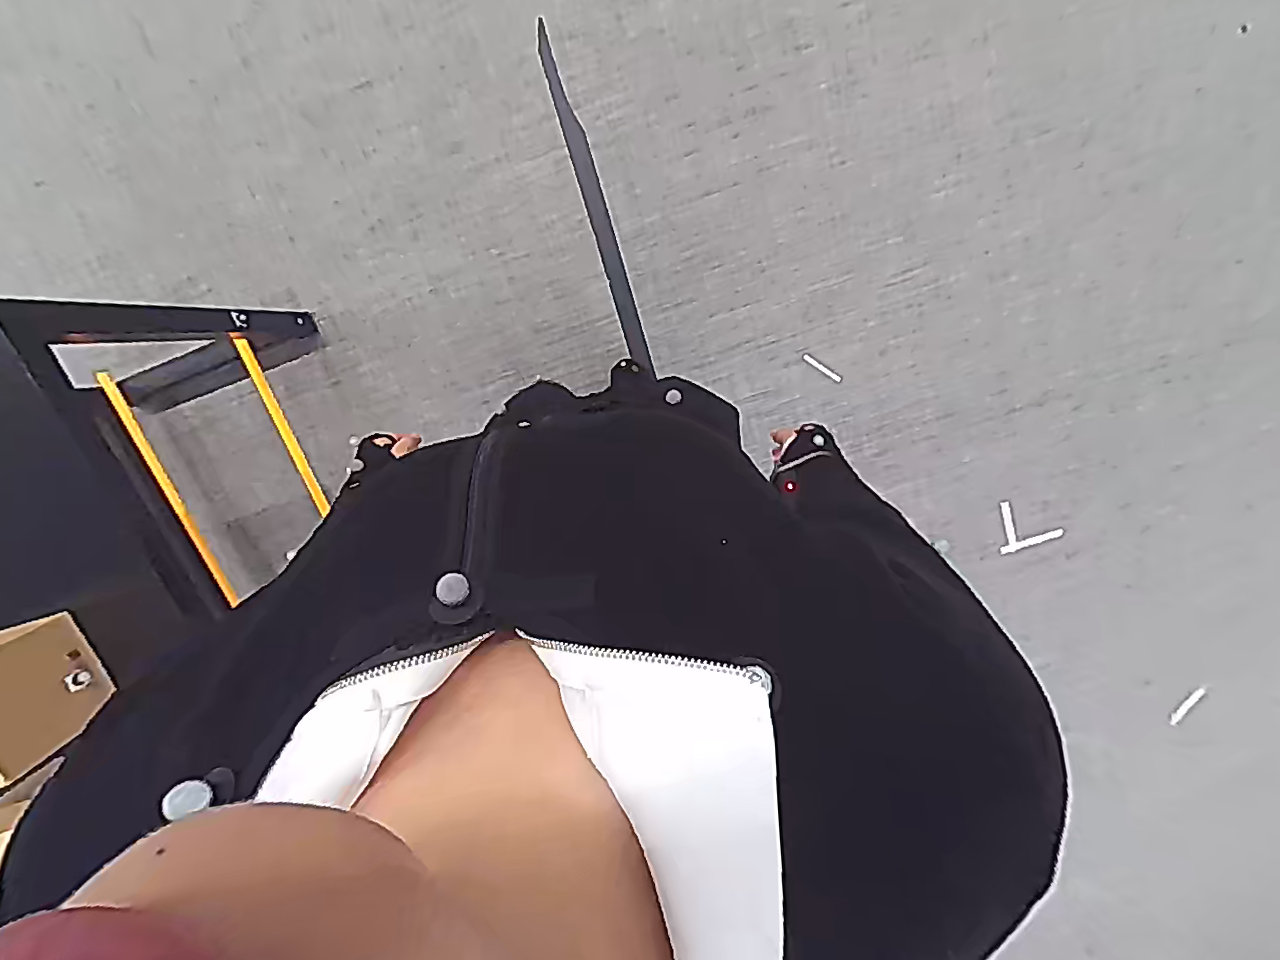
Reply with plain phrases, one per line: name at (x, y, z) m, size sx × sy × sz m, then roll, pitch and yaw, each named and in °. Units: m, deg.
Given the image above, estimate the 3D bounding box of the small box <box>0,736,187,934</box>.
small box at (-0.840, 0.519, 0.811) m, size 0.179 × 0.176 × 0.168 m, roll -17°, pitch 104°, yaw 5°

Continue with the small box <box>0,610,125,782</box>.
small box at (-0.906, 0.310, 0.758) m, size 0.179 × 0.176 × 0.168 m, roll -17°, pitch 106°, yaw 4°
